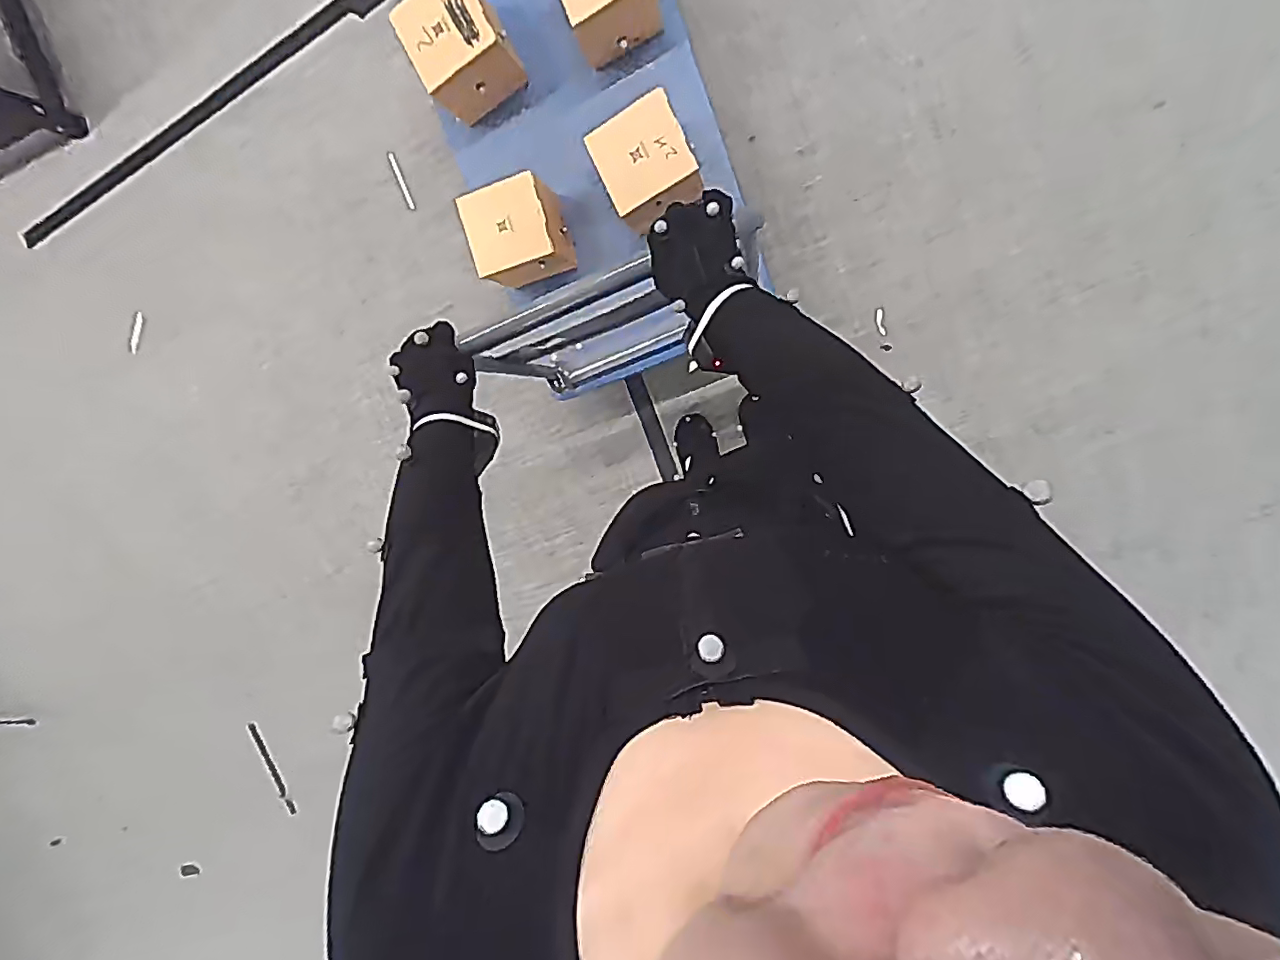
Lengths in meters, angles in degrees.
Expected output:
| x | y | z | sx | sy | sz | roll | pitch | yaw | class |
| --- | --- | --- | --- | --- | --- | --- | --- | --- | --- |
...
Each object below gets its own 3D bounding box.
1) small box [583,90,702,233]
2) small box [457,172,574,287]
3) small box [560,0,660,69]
| x | y | z | sx | sy | sz | roll | pitch | yaw | class |
| --- | --- | --- | --- | --- | --- | --- | --- | --- | --- |
| 0.013 | -0.639 | 1.115 | 0.179 | 0.176 | 0.168 | -25 | 96 | 16 | small box |
| -0.266 | -0.539 | 1.194 | 0.179 | 0.176 | 0.168 | -14 | 99 | 12 | small box |
| -0.074 | -0.969 | 1.061 | 0.168 | 0.176 | 0.179 | -21 | 98 | 15 | small box |
